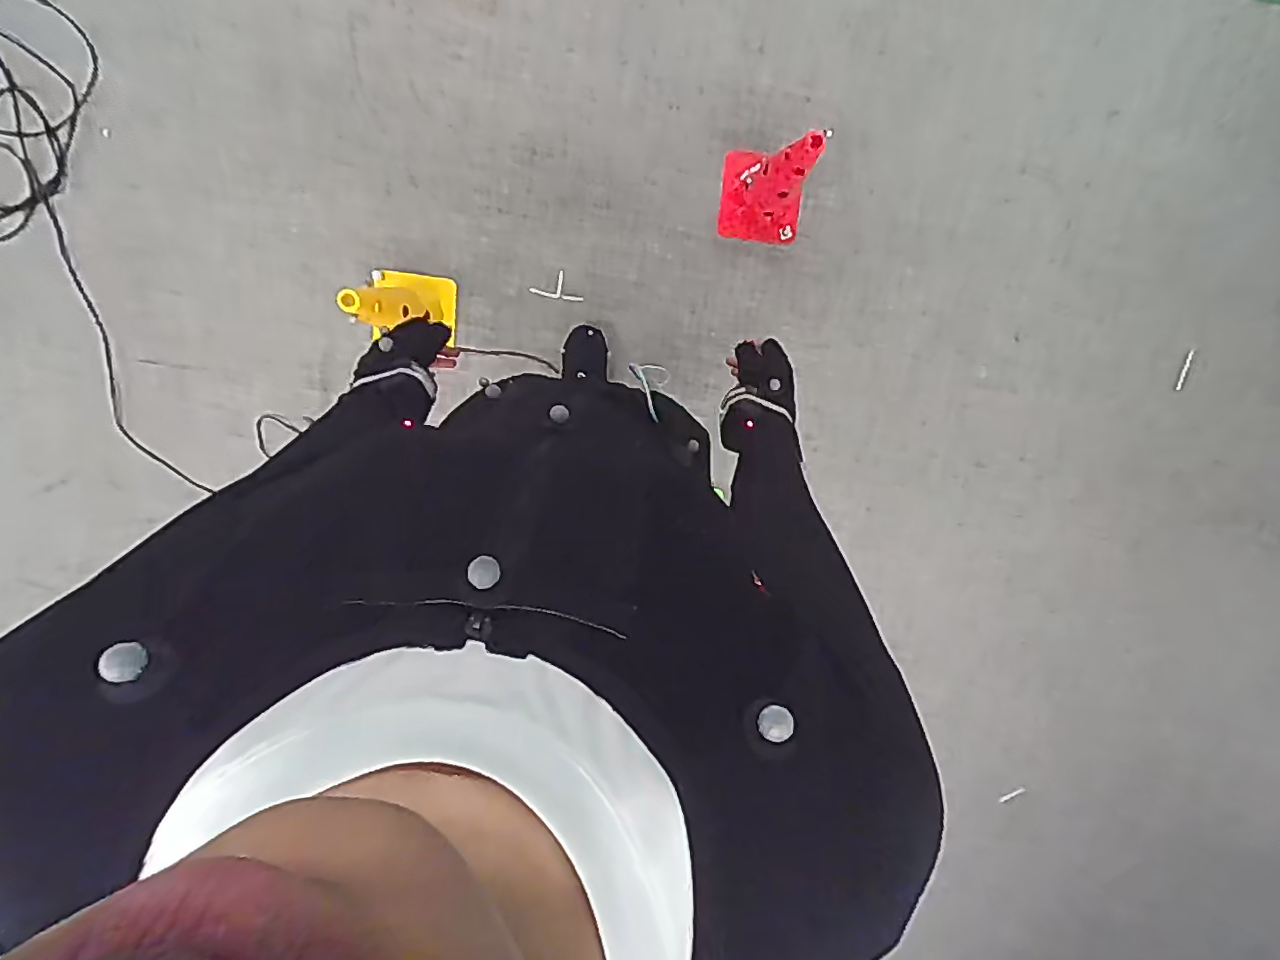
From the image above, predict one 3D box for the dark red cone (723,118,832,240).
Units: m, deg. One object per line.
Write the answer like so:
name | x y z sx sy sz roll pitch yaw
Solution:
dark red cone | 0.315 -0.659 1.148 0.202 0.394 0.201 4 101 -4
